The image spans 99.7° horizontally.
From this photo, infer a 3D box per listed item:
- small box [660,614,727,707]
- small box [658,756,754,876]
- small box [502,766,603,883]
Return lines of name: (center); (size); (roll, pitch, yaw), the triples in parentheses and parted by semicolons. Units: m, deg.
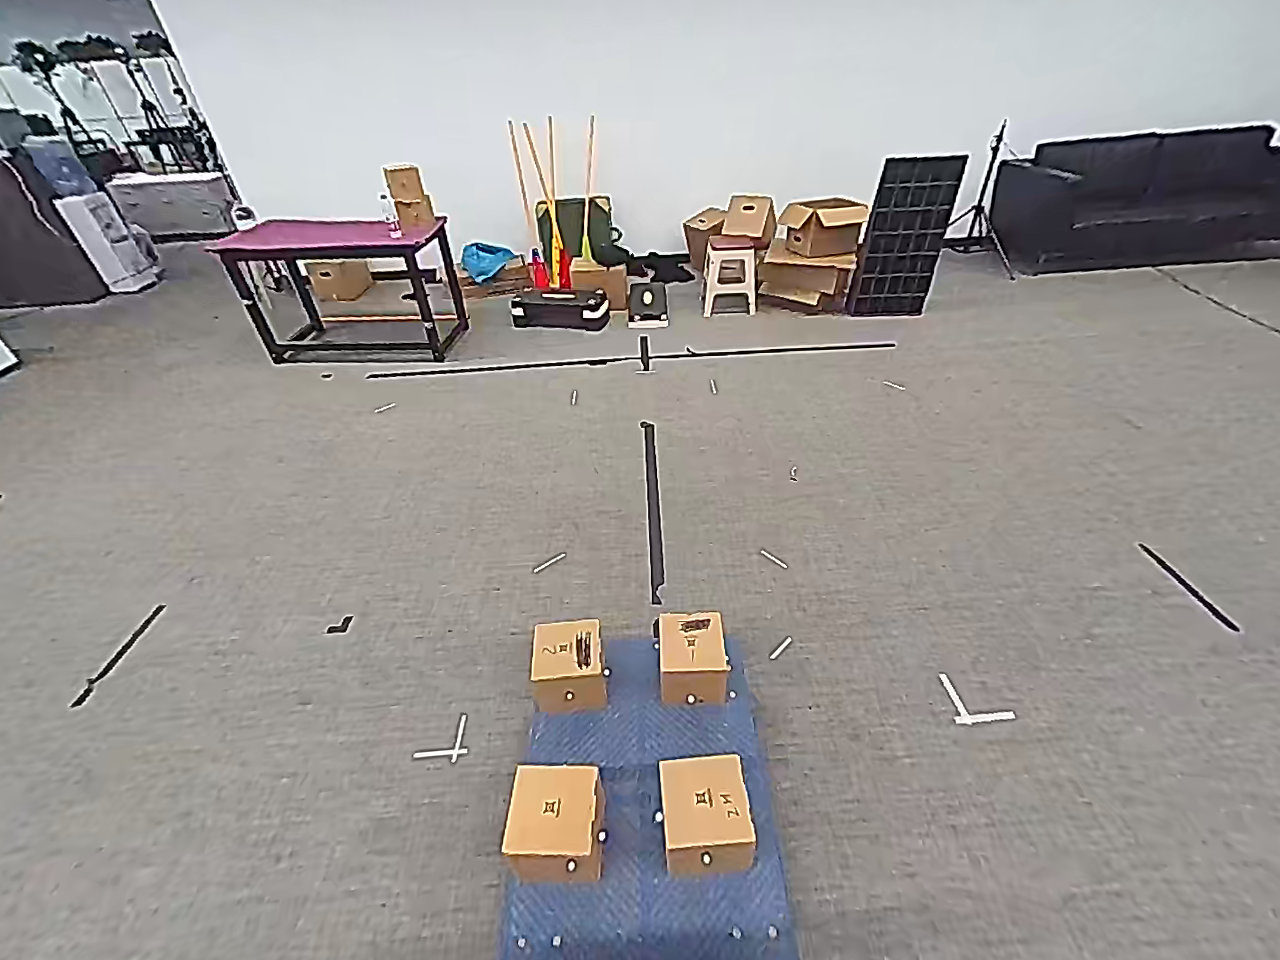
small box: (0.136, 0.476, 1.431); (0.168, 0.176, 0.179); (-2, 40, 2)
small box: (0.134, 0.709, 1.138); (0.179, 0.176, 0.168); (-4, 39, -1)
small box: (-0.175, 0.726, 1.140); (0.179, 0.176, 0.168); (0, 38, 1)
